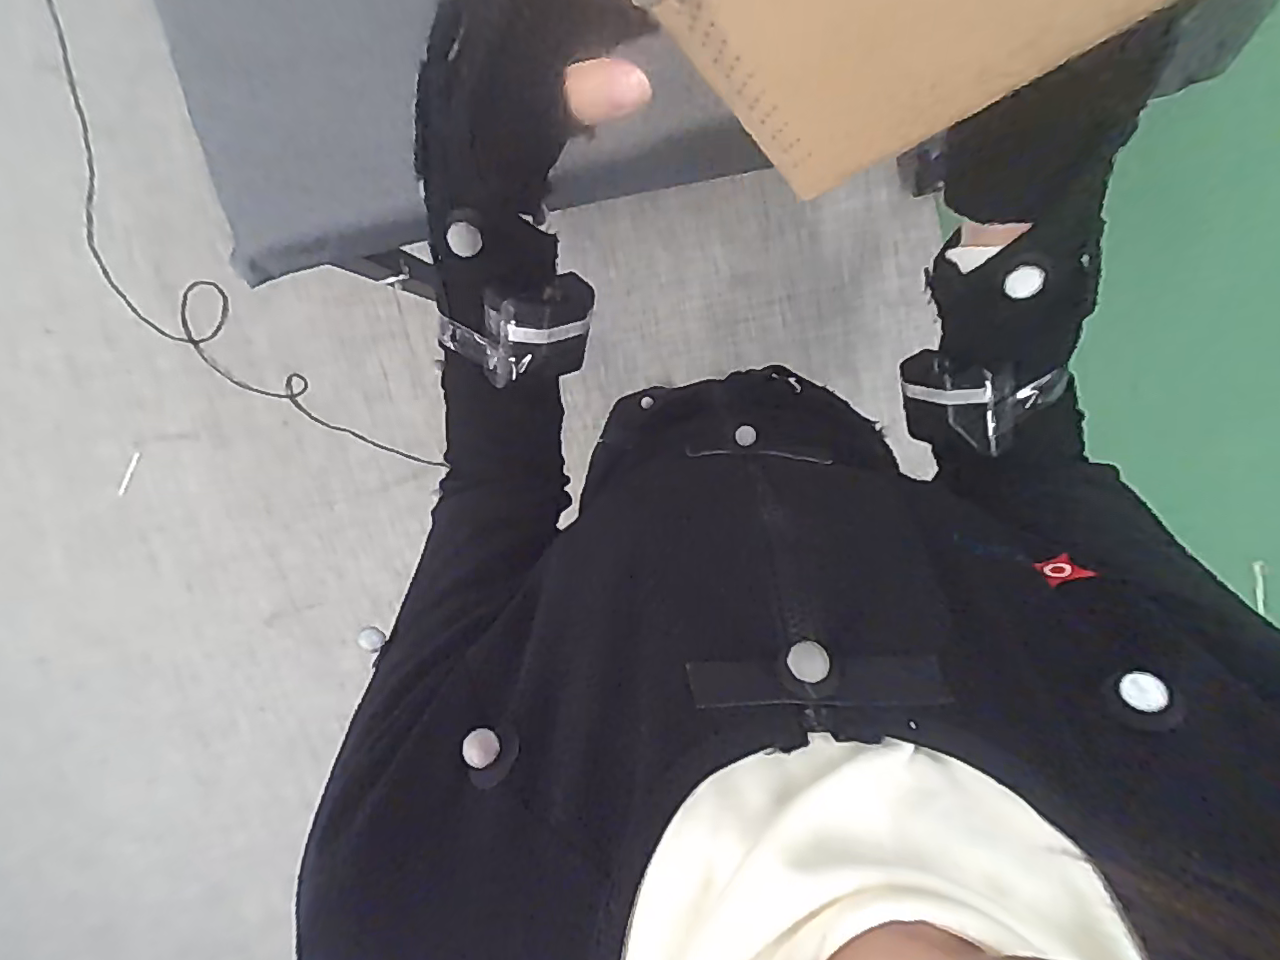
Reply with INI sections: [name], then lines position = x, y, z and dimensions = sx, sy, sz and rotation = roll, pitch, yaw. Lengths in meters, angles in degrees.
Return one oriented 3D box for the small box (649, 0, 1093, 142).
[small box]
position = 0.069, -0.210, 0.113
dimensions = 0.179, 0.176, 0.168
rotation = 43, 96, -14
